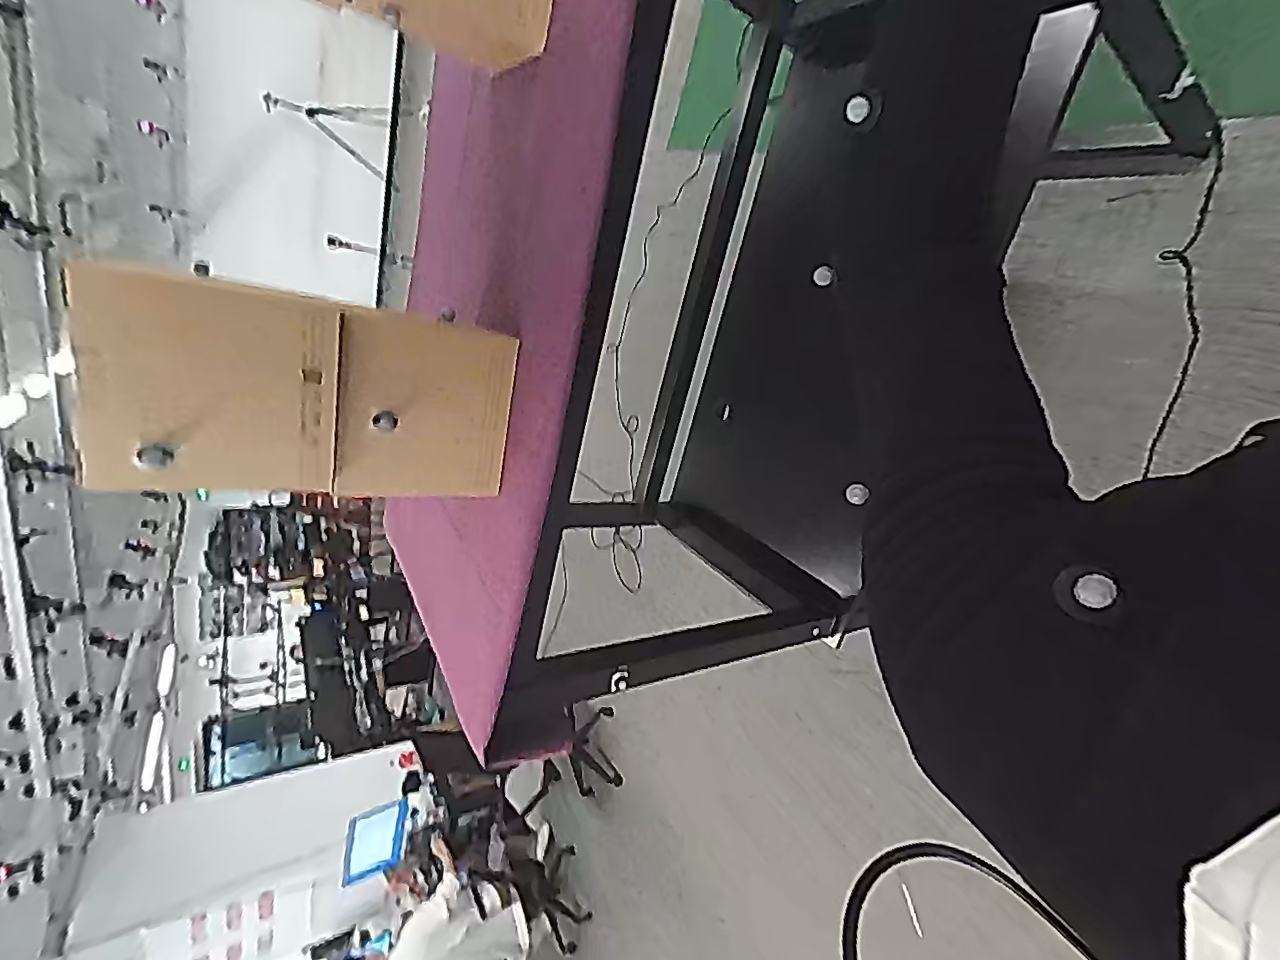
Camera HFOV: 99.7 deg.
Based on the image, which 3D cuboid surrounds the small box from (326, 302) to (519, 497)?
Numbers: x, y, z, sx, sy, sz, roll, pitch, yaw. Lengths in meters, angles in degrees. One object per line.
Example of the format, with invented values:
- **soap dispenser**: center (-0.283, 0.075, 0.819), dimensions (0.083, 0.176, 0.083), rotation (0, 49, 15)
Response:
- **small box**: center (-0.246, -0.089, 0.605), dimensions (0.168, 0.176, 0.179), rotation (31, 114, 51)

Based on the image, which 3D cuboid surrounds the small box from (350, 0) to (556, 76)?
- **small box**: center (-0.173, -0.523, 0.519), dimensions (0.179, 0.176, 0.168), rotation (41, 122, 49)
